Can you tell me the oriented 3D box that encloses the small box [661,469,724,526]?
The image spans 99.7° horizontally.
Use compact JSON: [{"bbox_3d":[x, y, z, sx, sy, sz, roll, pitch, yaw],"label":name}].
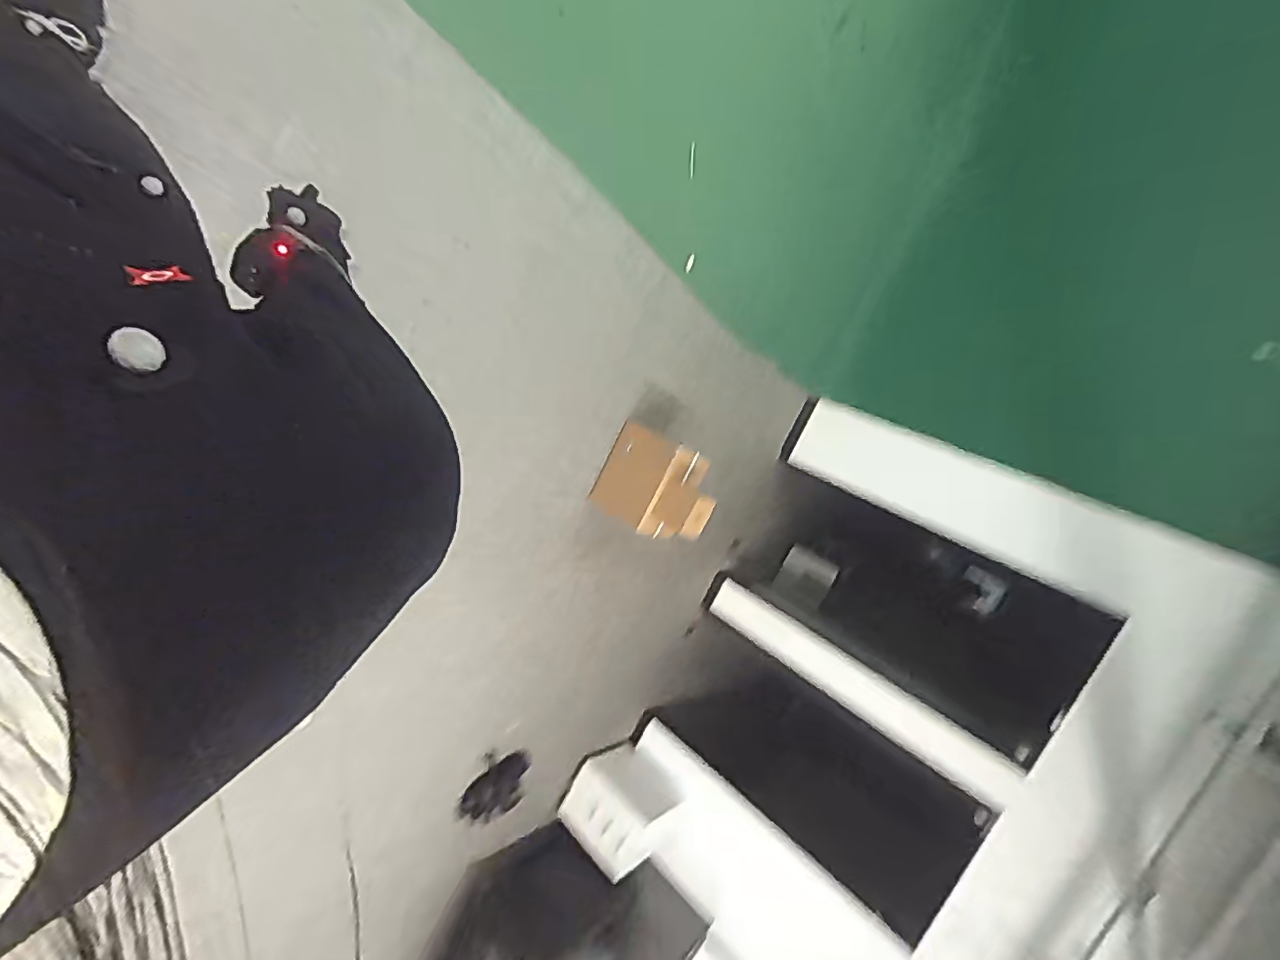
[{"bbox_3d":[0.215,0.073,2.269,0.168,0.176,0.179,17,103,-54],"label":"small box"}]
